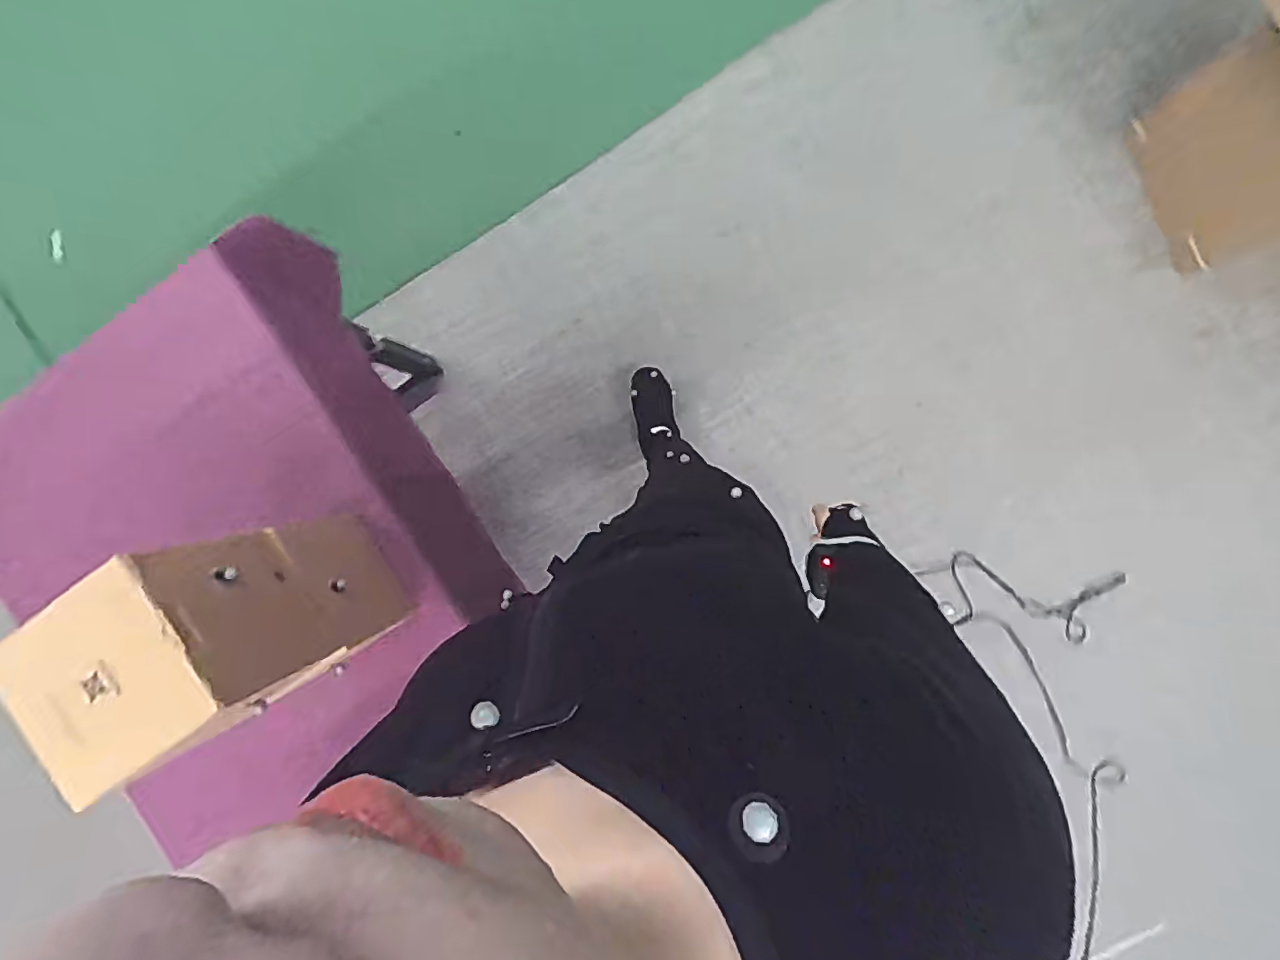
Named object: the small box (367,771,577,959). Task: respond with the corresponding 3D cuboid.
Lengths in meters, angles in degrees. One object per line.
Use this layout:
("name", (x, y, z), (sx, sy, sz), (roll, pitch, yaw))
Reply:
("small box", (-0.205, 0.534, 0.713), (0.168, 0.176, 0.179), (-35, 88, 5))

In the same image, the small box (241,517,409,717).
("small box", (-0.446, 0.166, 0.717), (0.168, 0.176, 0.179), (-32, 89, 4))

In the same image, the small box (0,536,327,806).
("small box", (-0.464, 0.174, 0.554), (0.179, 0.176, 0.168), (-35, 89, 5))
